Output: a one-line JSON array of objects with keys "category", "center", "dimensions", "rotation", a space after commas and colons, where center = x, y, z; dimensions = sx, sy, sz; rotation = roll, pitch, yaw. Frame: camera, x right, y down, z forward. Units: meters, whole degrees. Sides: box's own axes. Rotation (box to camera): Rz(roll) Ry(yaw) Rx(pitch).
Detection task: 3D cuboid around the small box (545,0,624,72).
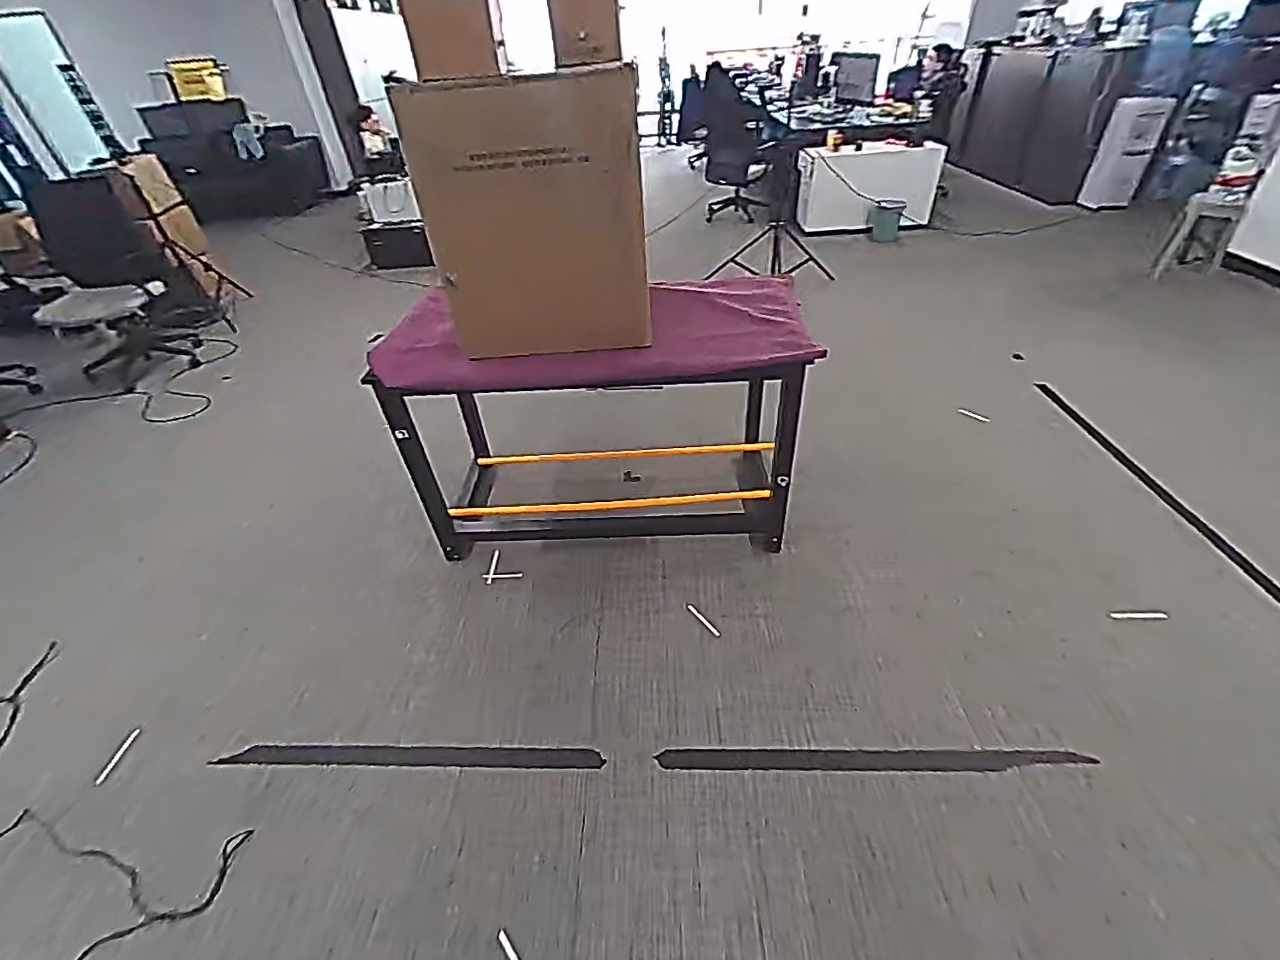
[{"category": "small box", "center": [-0.128, -1.083, 1.286], "dimensions": [0.168, 0.176, 0.179], "rotation": [-3, 39, 4]}]
